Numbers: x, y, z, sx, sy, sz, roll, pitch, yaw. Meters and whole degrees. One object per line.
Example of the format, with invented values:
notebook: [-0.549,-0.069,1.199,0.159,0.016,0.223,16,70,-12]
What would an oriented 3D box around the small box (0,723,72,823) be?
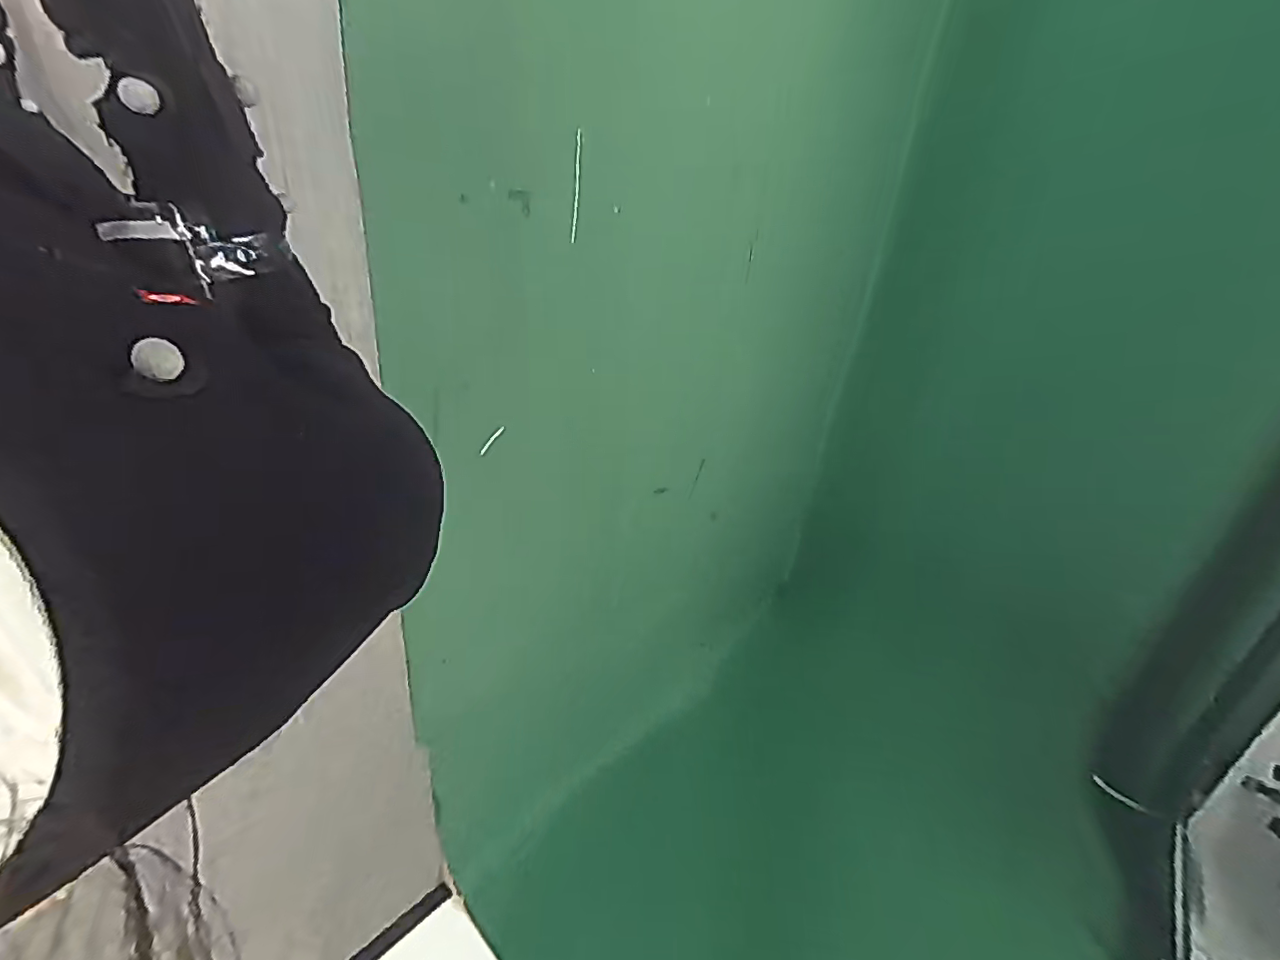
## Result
small box: [-1.303,0.639,1.091,0.179,0.176,0.168,-21,127,-46]

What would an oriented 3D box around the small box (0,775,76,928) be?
small box: [-1.185,0.696,0.993,0.179,0.176,0.168,-17,124,-45]
